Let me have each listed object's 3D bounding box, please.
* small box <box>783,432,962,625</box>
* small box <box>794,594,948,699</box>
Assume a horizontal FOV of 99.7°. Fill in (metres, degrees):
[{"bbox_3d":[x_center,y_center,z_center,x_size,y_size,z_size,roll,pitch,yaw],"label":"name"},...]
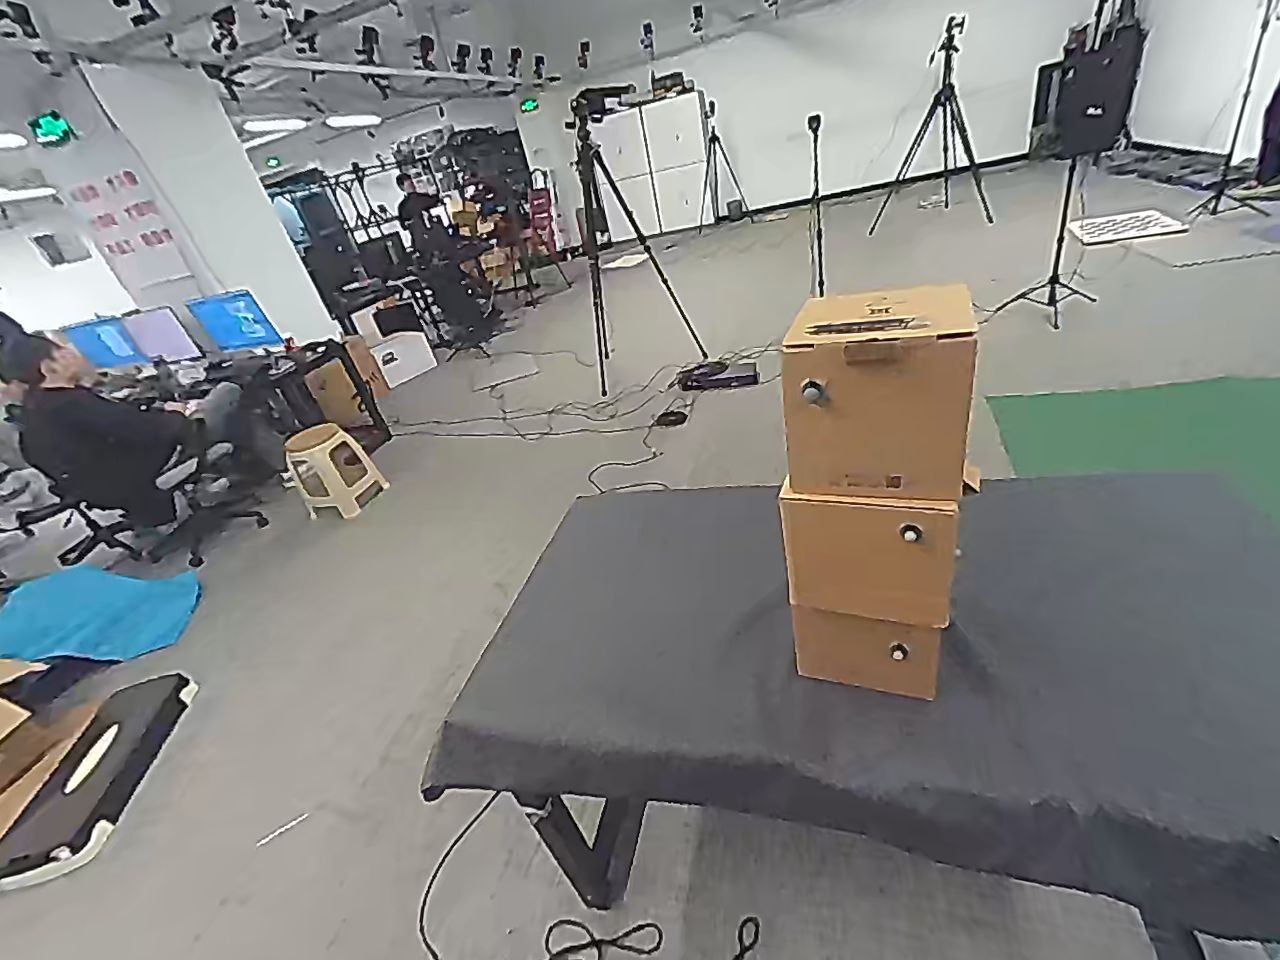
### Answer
[{"bbox_3d":[0.285,0.053,0.659,0.179,0.176,0.168,4,34,27],"label":"small box"},{"bbox_3d":[0.325,0.177,0.758,0.179,0.176,0.168,1,33,27],"label":"small box"}]
